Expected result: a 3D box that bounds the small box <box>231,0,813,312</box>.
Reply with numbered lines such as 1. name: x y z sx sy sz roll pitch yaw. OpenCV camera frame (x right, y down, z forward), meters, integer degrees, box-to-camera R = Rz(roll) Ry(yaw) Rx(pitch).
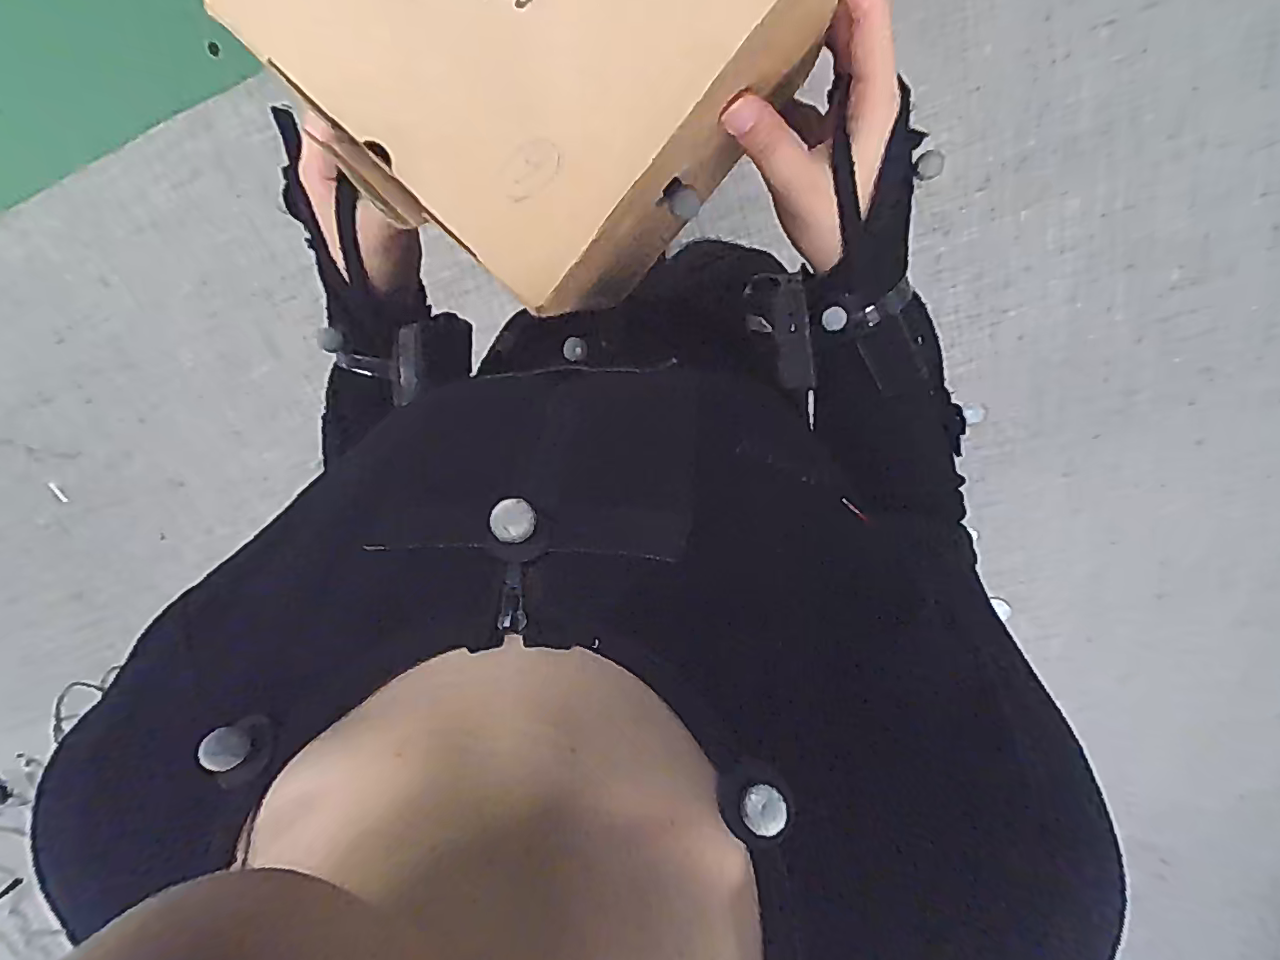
1. small box: -0.031 -0.206 0.262 0.168 0.176 0.179 42 111 -7
